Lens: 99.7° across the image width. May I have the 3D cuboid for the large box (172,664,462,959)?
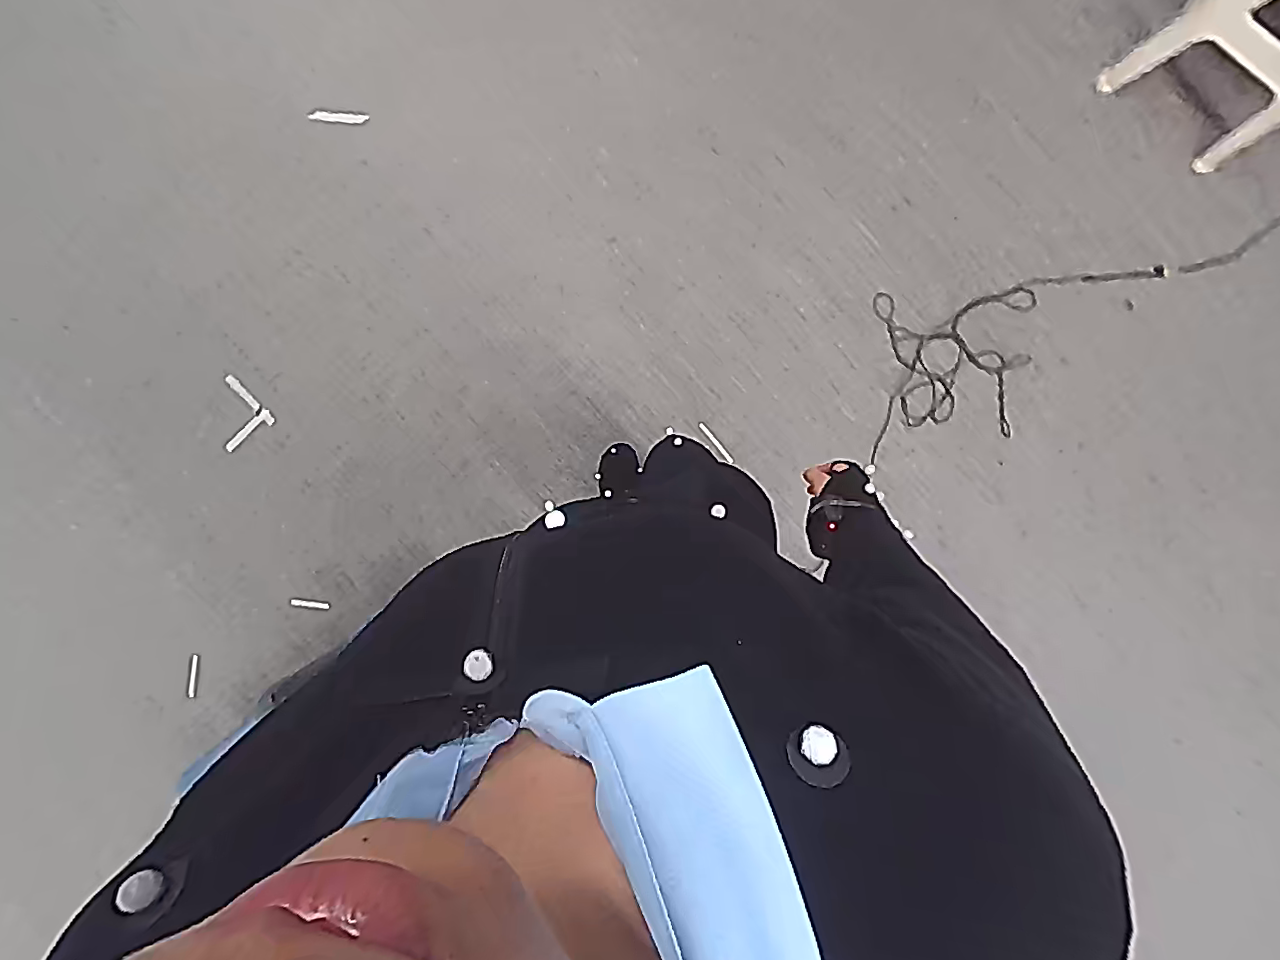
[{"bbox_3d":[-0.681,0.705,1.214,0.320,0.320,0.408,-38,94,2],"label":"large box"}]
